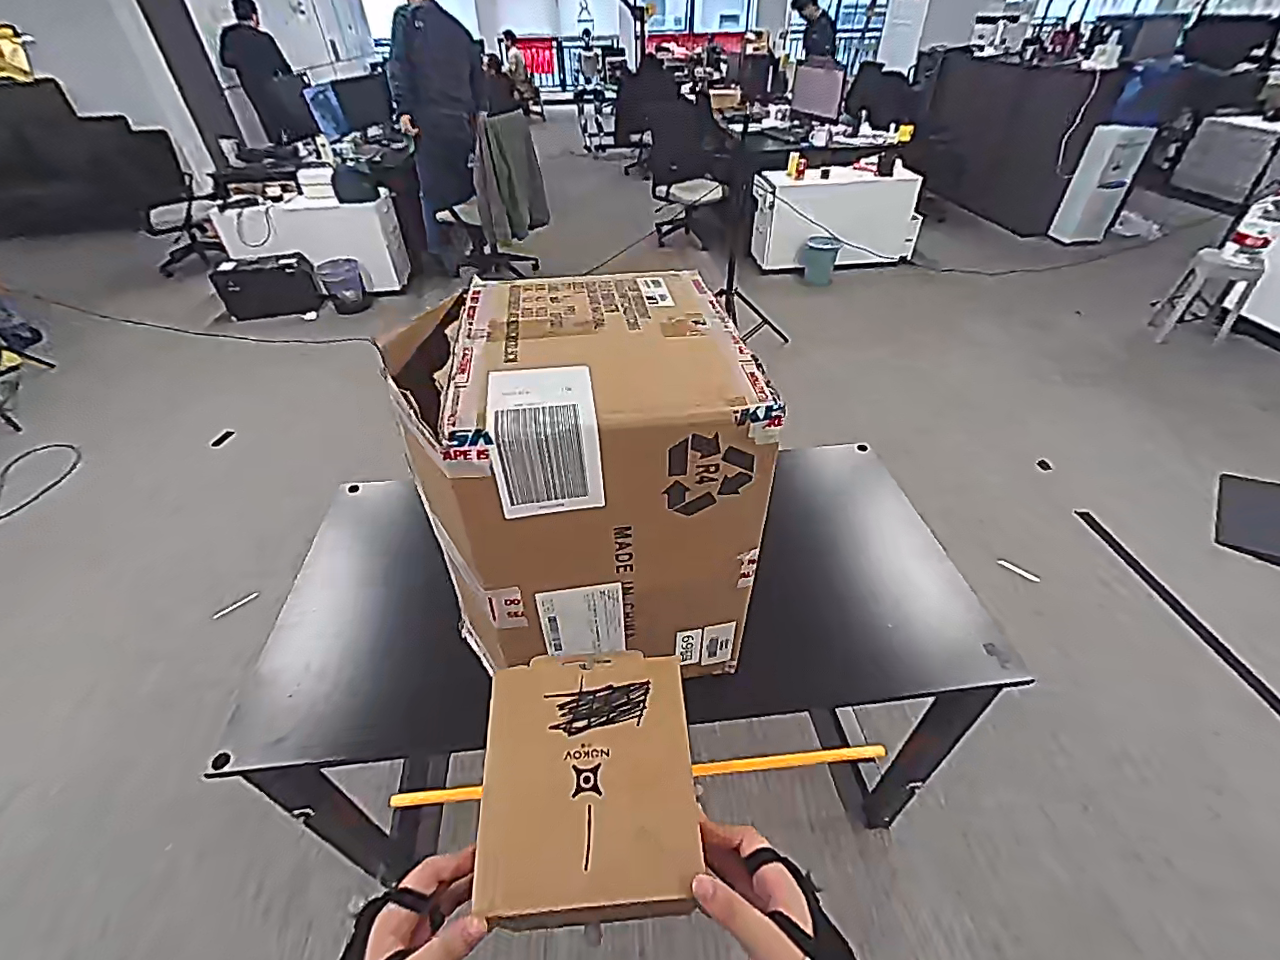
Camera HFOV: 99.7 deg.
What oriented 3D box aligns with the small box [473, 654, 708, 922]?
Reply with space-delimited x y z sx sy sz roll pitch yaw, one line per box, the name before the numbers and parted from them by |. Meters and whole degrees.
small box | -0.039 0.277 0.487 0.168 0.176 0.179 -3 49 -2
